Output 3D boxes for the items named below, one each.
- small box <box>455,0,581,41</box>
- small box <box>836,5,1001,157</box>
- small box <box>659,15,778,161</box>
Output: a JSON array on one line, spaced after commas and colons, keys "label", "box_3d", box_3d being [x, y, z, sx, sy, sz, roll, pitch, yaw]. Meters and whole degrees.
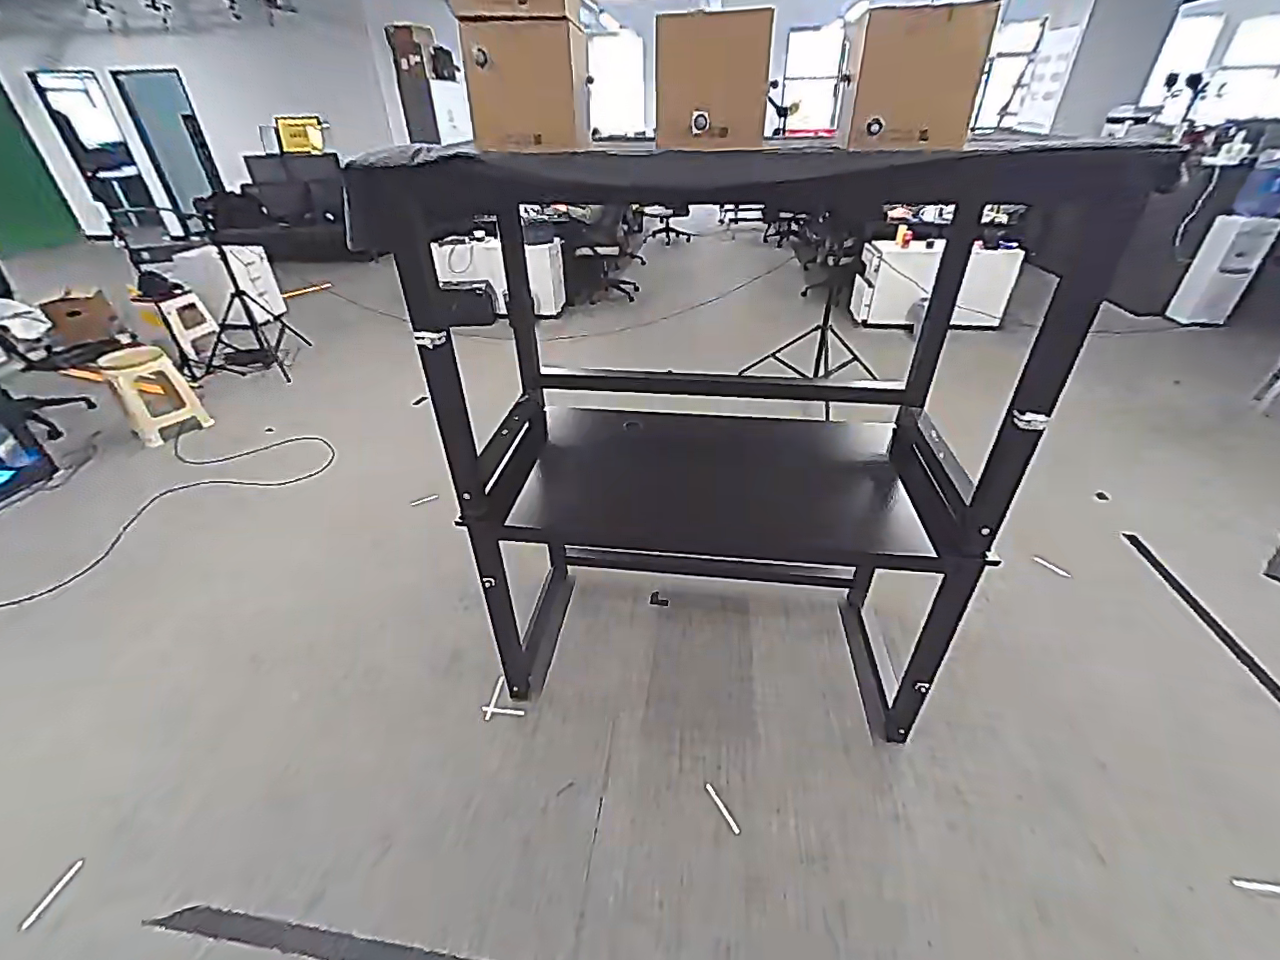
[{"label": "small box", "box_3d": [-0.177, -0.755, 0.784, 0.168, 0.176, 0.179, 1, 34, 0]}, {"label": "small box", "box_3d": [0.404, -0.591, 0.819, 0.168, 0.176, 0.179, 5, 33, 8]}, {"label": "small box", "box_3d": [0.122, -0.603, 0.847, 0.168, 0.176, 0.179, 4, 33, 10]}]
